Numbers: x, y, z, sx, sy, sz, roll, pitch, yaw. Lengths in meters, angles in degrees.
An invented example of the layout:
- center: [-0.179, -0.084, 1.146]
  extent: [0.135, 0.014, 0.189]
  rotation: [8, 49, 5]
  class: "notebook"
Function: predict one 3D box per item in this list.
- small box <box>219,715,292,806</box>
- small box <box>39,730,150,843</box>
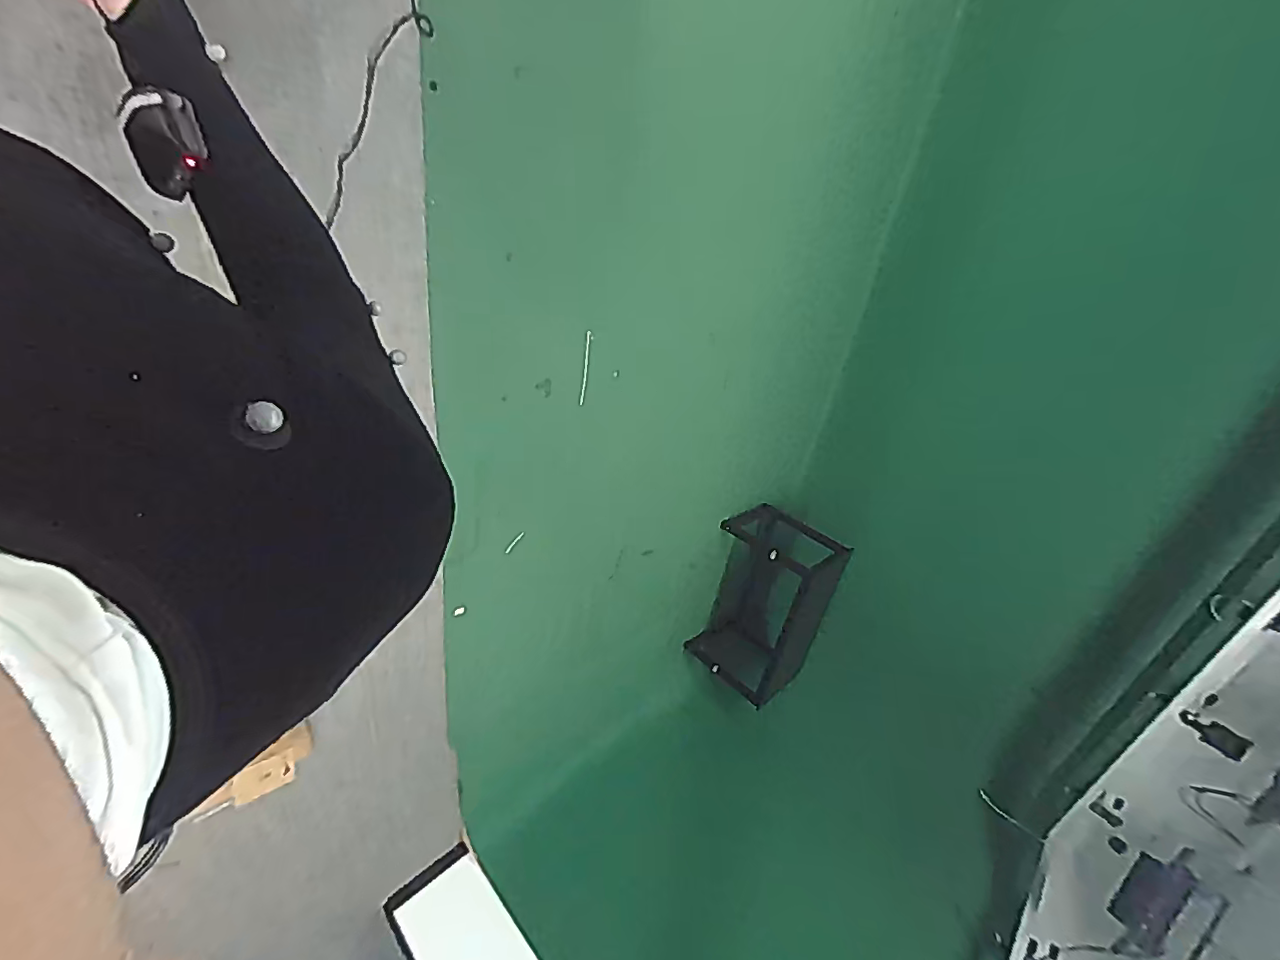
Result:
- center: [-1.304, 0.942, 1.830]
  extent: [0.179, 0.176, 0.168]
  rotation: [-11, 124, -47]
  class: "small box"
- center: [-1.510, 0.838, 1.497]
  extent: [0.179, 0.176, 0.168]
  rotation: [-20, 130, -43]
  class: "small box"
